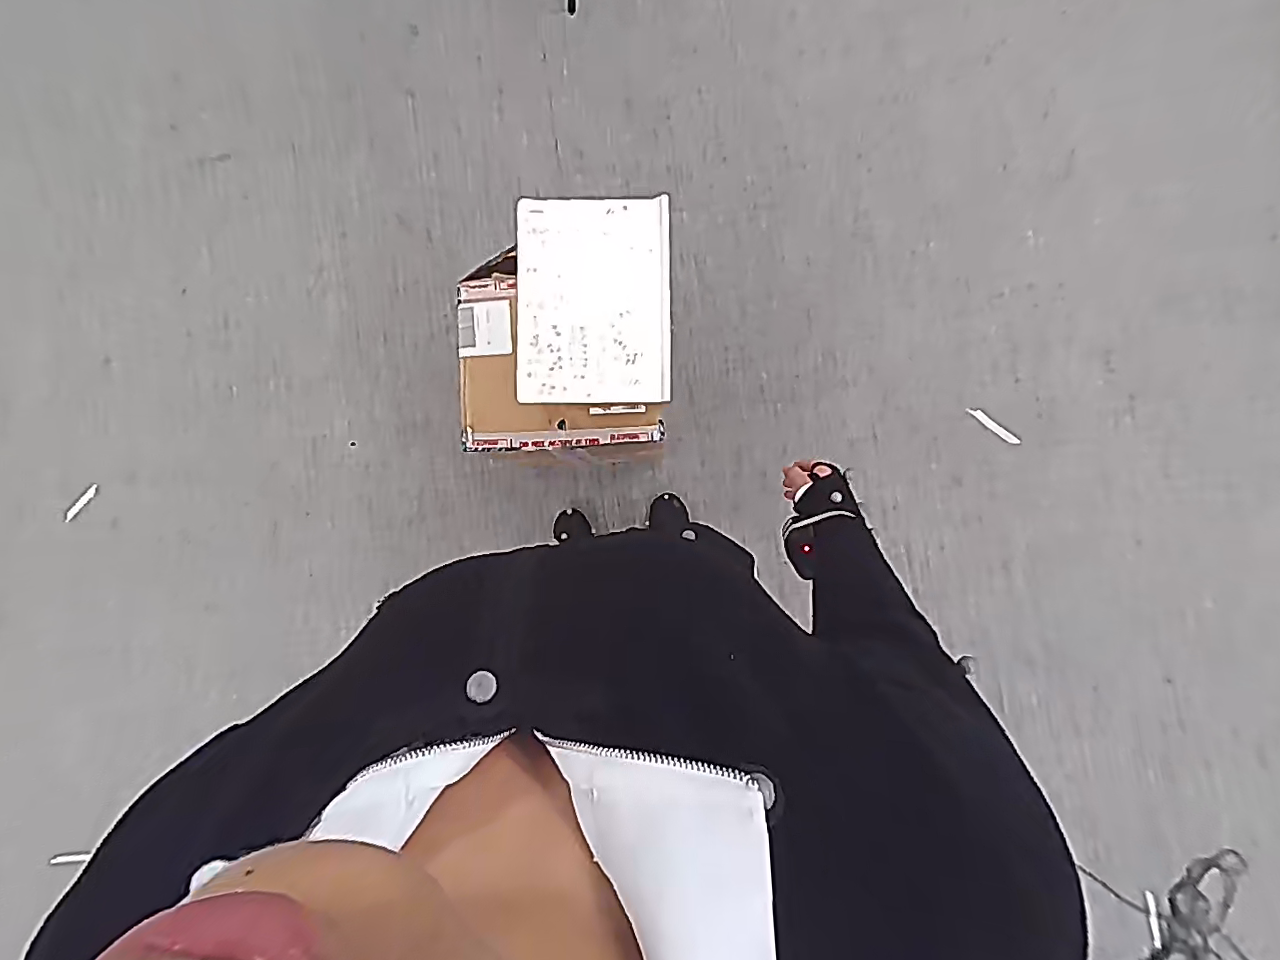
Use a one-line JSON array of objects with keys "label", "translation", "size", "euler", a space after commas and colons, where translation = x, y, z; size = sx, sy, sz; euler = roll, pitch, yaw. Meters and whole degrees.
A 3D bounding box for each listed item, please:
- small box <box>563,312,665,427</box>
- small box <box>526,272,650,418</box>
[{"label": "small box", "translation": [-0.050, -0.190, 0.967], "size": [0.179, 0.176, 0.168], "euler": [-4, 88, 1]}, {"label": "small box", "translation": [-0.071, -0.190, 0.803], "size": [0.168, 0.176, 0.179], "euler": [0, 90, 0]}]
